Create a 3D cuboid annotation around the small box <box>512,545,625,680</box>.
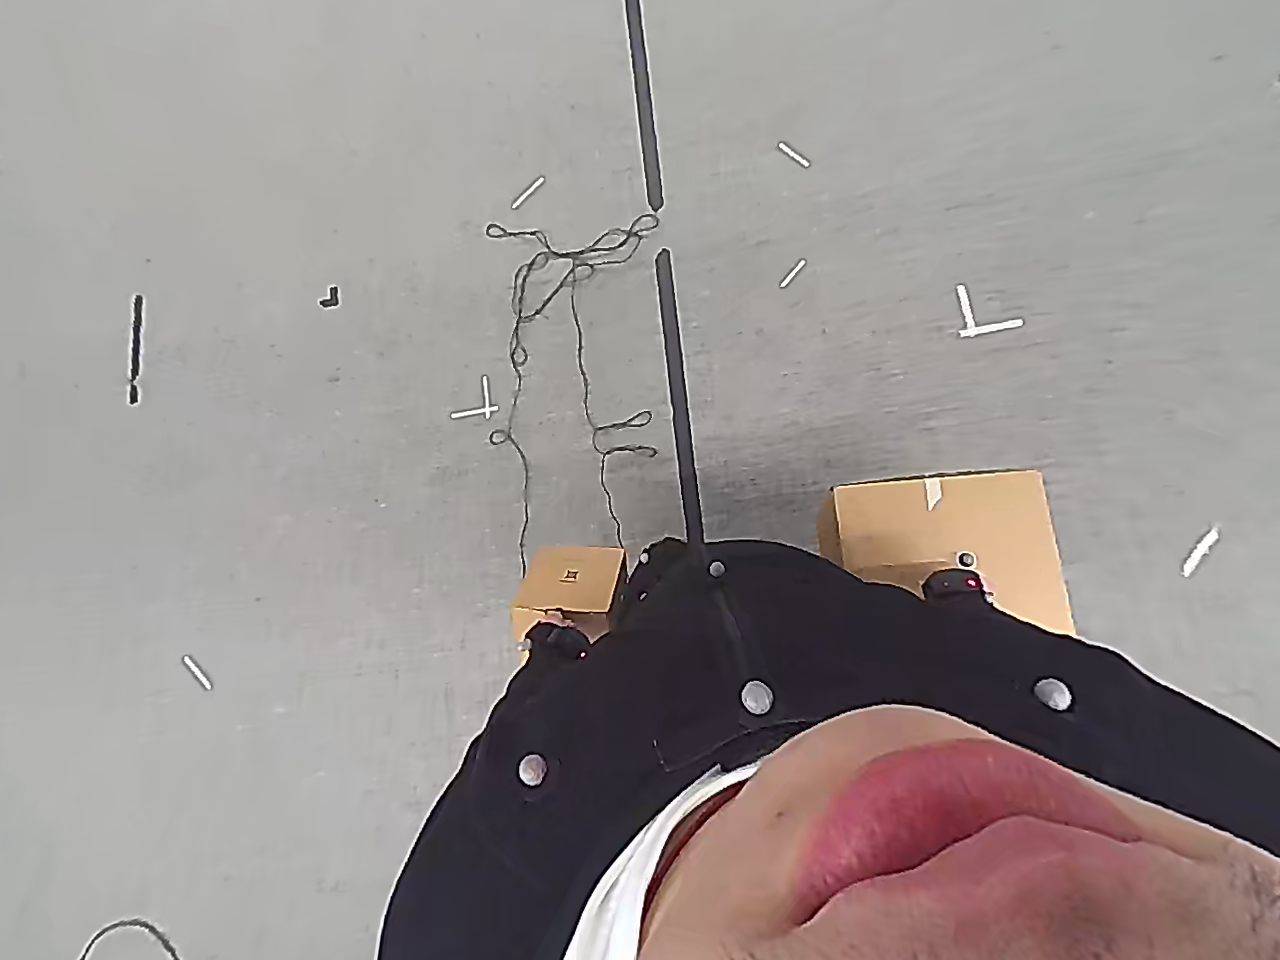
[{"bbox_3d":[-0.119,0.242,0.993,0.168,0.179,0.176,3,120,6],"label":"small box"}]
